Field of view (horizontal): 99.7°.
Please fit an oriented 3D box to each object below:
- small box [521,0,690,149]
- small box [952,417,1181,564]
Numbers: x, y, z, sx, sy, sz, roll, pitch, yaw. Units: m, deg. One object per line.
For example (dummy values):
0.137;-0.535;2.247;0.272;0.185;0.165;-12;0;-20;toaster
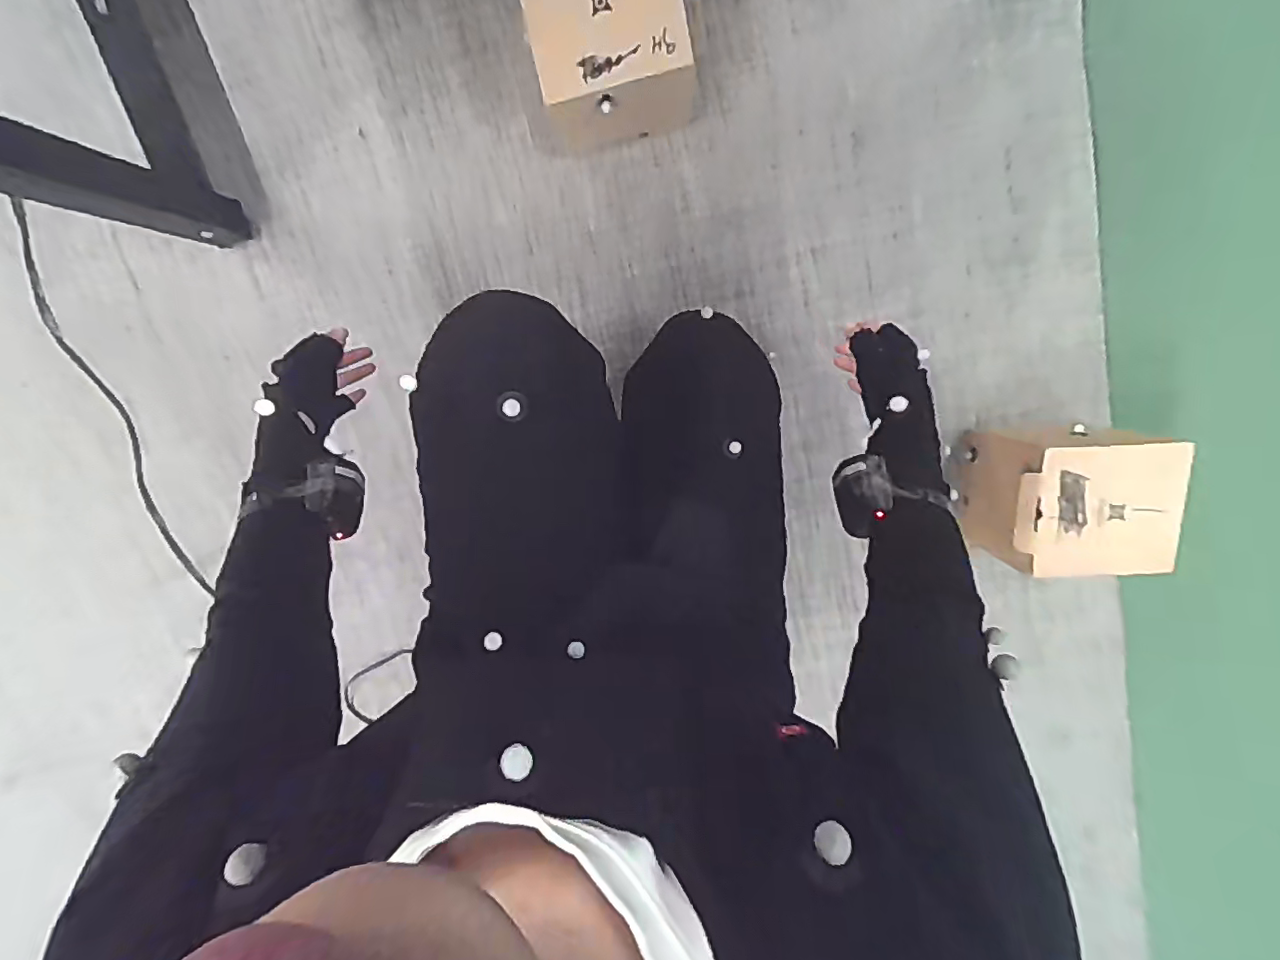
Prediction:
-0.041;-0.528;0.631;0.168;0.176;0.179;-12;101;6;small box
0.557;0.007;0.735;0.179;0.176;0.168;-2;103;2;small box
